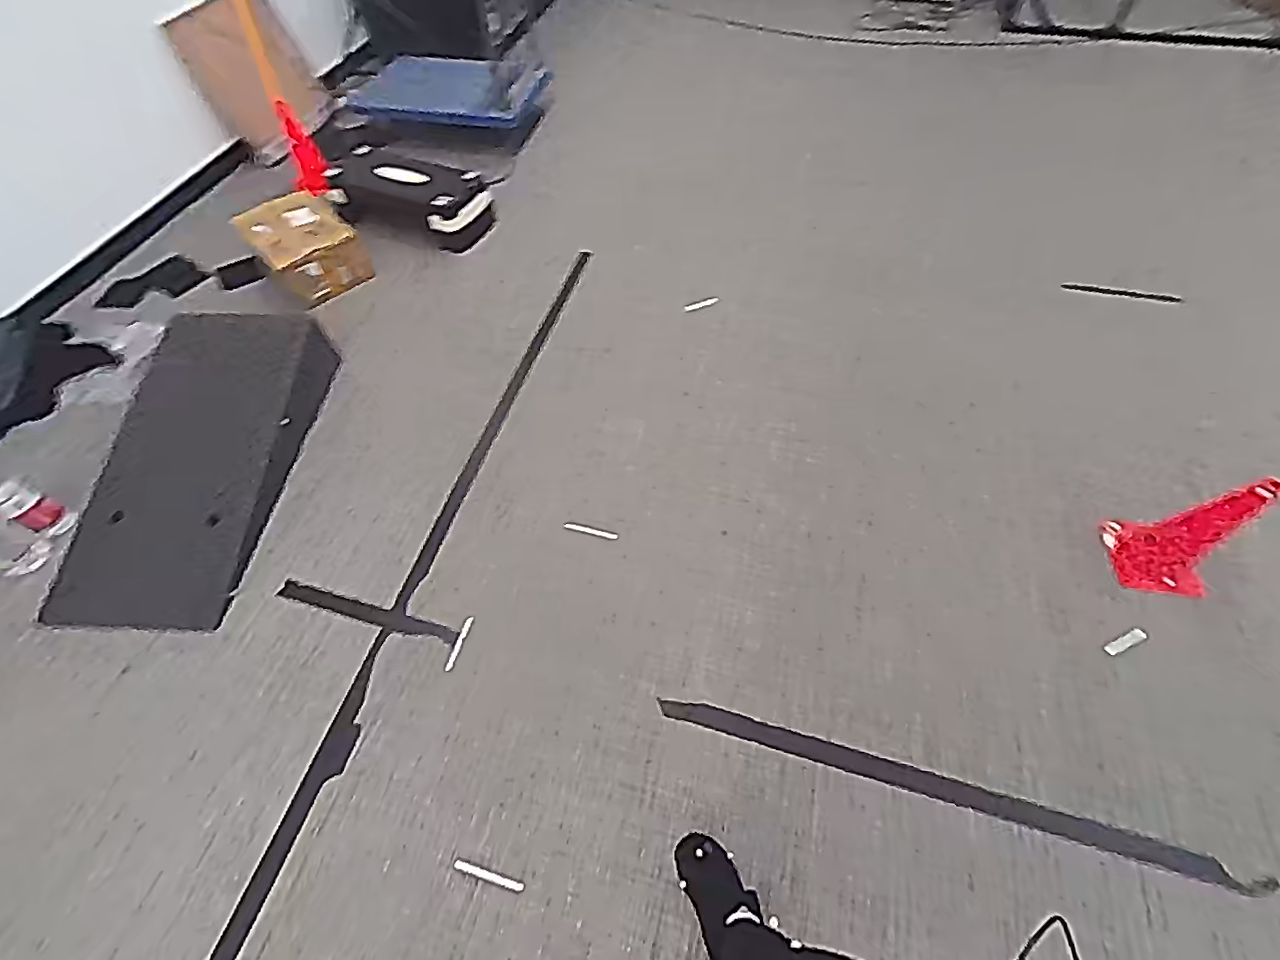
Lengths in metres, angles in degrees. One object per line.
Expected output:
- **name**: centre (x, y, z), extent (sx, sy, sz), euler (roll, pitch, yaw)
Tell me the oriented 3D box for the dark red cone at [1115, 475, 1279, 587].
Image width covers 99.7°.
- **dark red cone**: centre (1.333, 0.088, 1.242), extent (0.202, 0.394, 0.201), euler (6, 58, 6)
